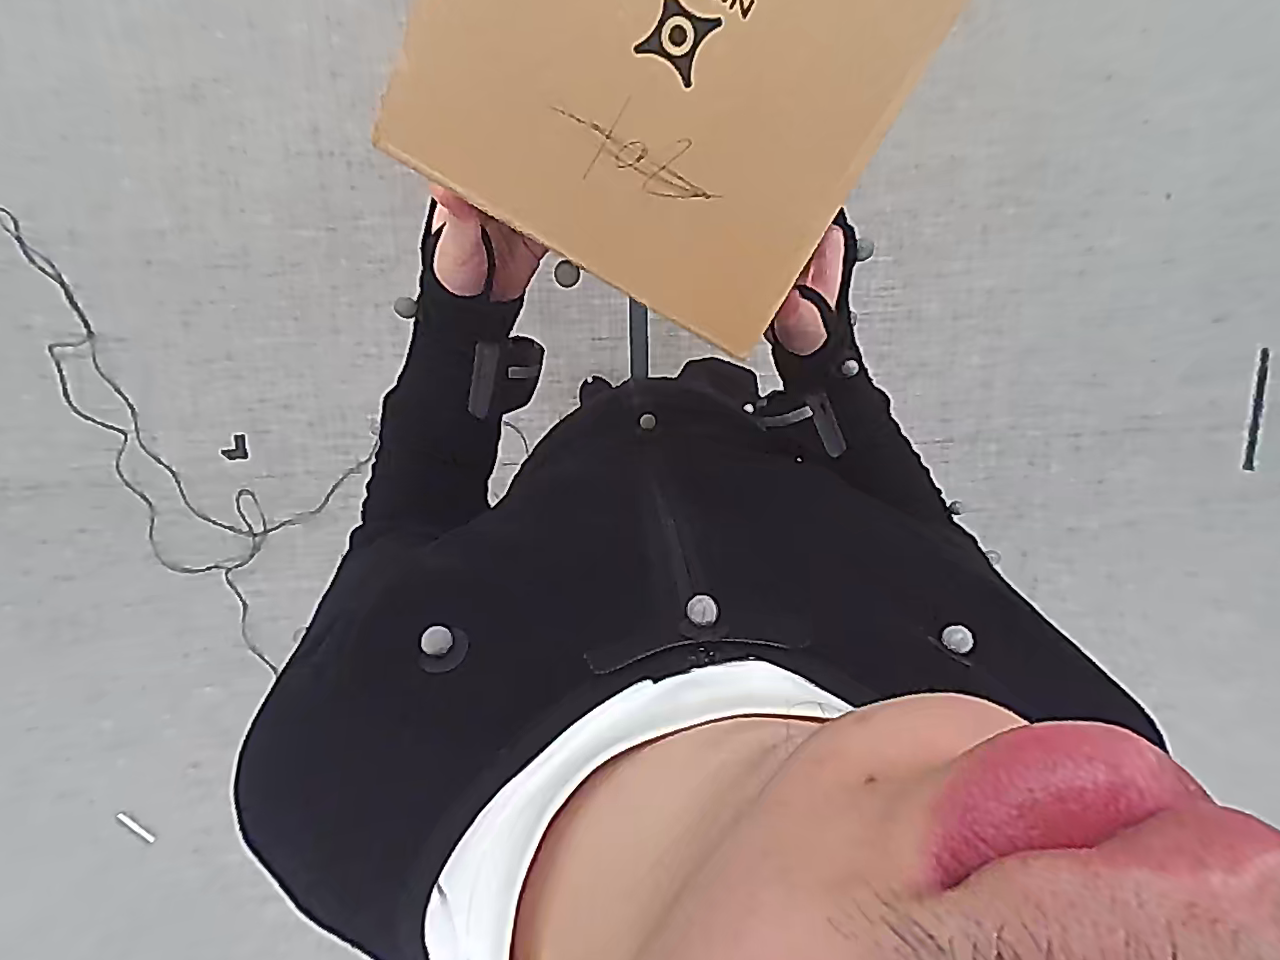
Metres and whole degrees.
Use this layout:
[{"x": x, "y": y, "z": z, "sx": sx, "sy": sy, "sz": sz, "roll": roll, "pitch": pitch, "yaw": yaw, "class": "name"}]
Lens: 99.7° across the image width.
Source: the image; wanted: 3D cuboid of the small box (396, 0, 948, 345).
[{"x": 0.014, "y": -0.193, "z": 0.276, "sx": 0.168, "sy": 0.176, "sz": 0.179, "roll": 27, "pitch": 107, "yaw": -9, "class": "small box"}]
